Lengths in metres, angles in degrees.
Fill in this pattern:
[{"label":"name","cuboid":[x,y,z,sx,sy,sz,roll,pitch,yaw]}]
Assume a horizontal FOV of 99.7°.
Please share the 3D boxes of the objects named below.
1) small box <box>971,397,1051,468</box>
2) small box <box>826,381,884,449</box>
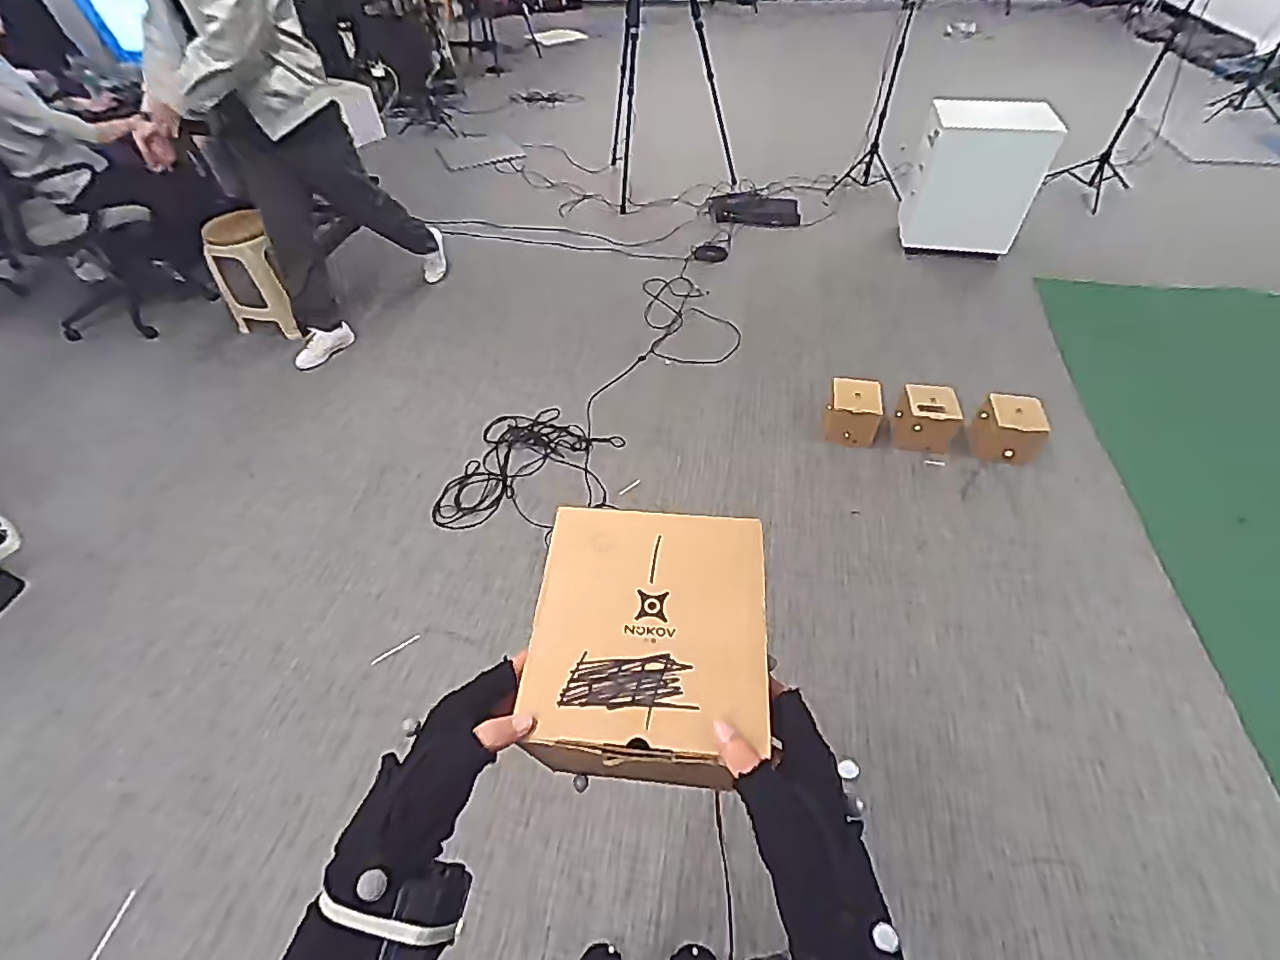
[{"label":"small box","cuboid":[1.310,-0.168,1.926,0.168,0.176,0.179,8,51,10]},{"label":"small box","cuboid":[0.792,-0.241,2.009,0.168,0.176,0.179,8,51,10]}]
